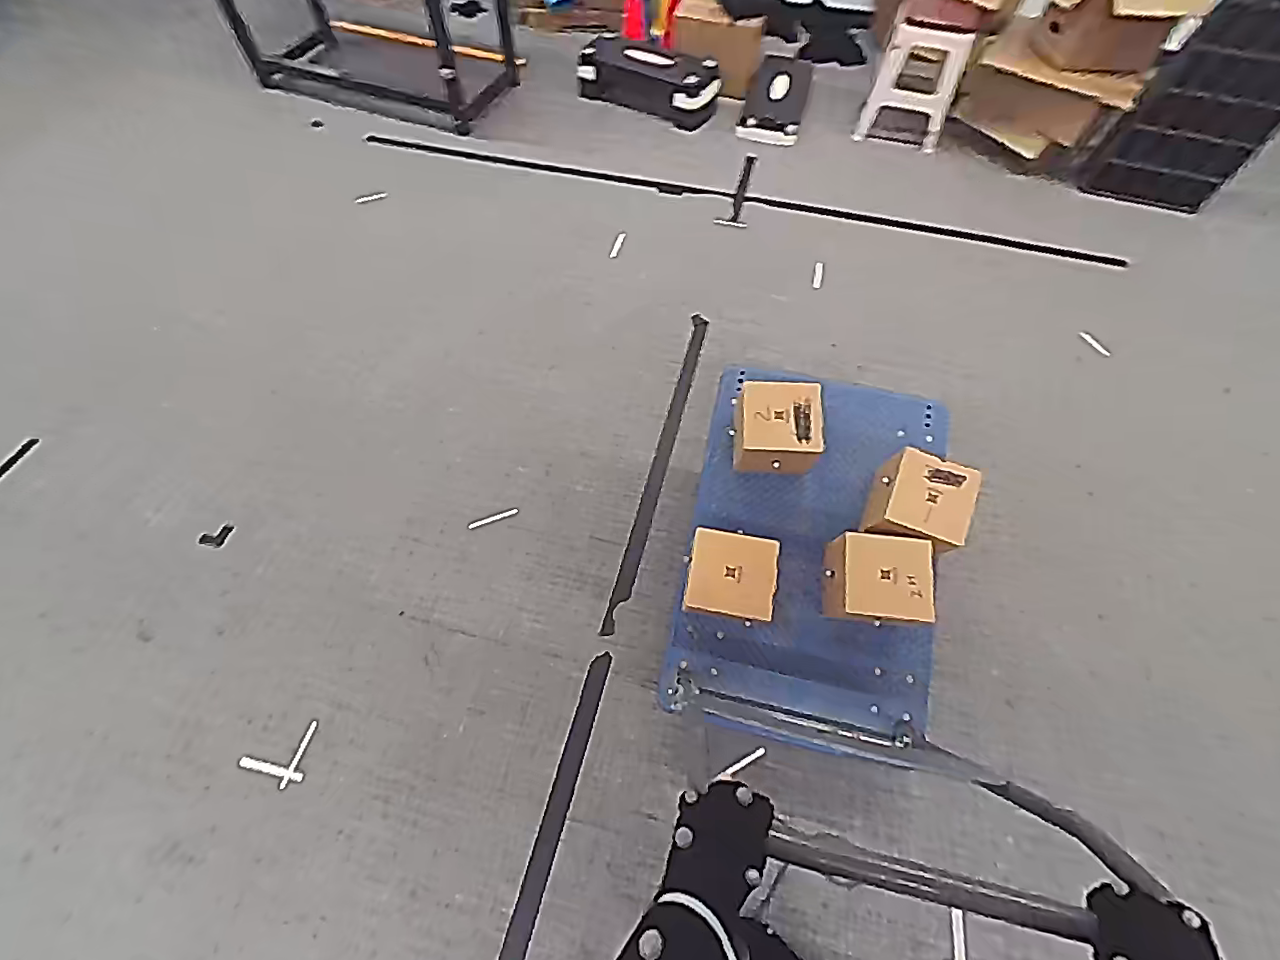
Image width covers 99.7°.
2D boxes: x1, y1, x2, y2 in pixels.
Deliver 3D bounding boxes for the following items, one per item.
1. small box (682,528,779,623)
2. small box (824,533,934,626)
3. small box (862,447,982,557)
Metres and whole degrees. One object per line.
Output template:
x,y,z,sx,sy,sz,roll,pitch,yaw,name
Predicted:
0.190,0.214,1.175,0.179,0.176,0.168,10,73,4,small box
0.503,0.218,1.160,0.179,0.176,0.168,6,73,5,small box
0.618,0.057,1.205,0.168,0.176,0.179,21,76,9,small box
